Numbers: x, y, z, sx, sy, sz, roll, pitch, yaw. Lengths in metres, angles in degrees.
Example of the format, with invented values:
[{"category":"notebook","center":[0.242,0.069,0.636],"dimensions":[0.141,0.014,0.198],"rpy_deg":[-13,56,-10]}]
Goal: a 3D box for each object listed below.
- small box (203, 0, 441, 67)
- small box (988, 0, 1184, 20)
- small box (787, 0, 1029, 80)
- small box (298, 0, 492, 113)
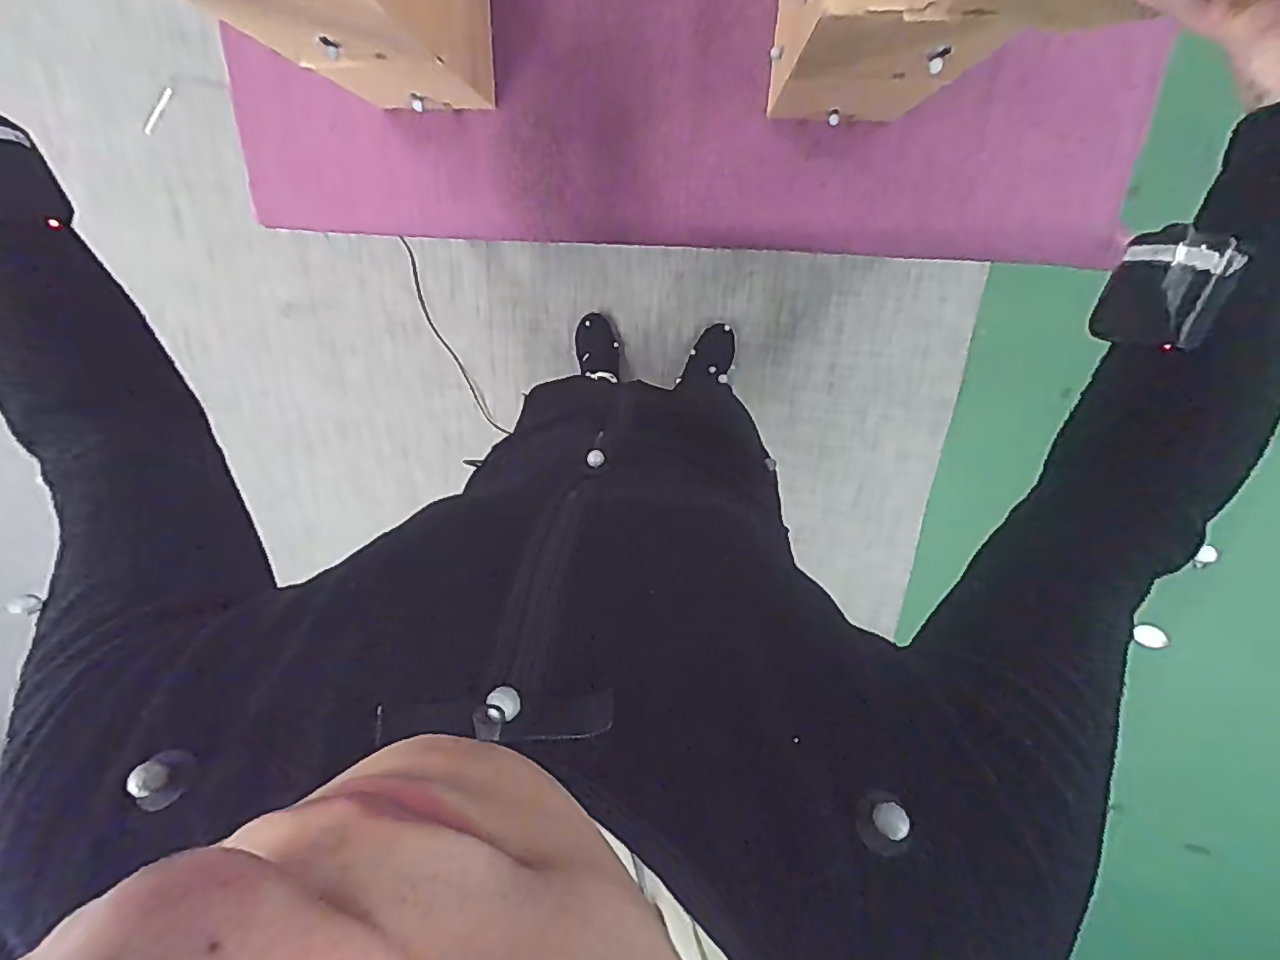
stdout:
[{"category":"small box","center":[-0.298,-0.505,0.484],"dimensions":[0.168,0.176,0.179],"rpy_deg":[2,111,4]},{"category":"small box","center":[0.271,-0.369,0.272],"dimensions":[0.179,0.176,0.168],"rpy_deg":[1,118,-19]},{"category":"small box","center":[0.224,-0.458,0.448],"dimensions":[0.168,0.176,0.179],"rpy_deg":[4,111,4]},{"category":"small box","center":[-0.284,-0.561,0.636],"dimensions":[0.168,0.176,0.179],"rpy_deg":[4,111,5]}]
